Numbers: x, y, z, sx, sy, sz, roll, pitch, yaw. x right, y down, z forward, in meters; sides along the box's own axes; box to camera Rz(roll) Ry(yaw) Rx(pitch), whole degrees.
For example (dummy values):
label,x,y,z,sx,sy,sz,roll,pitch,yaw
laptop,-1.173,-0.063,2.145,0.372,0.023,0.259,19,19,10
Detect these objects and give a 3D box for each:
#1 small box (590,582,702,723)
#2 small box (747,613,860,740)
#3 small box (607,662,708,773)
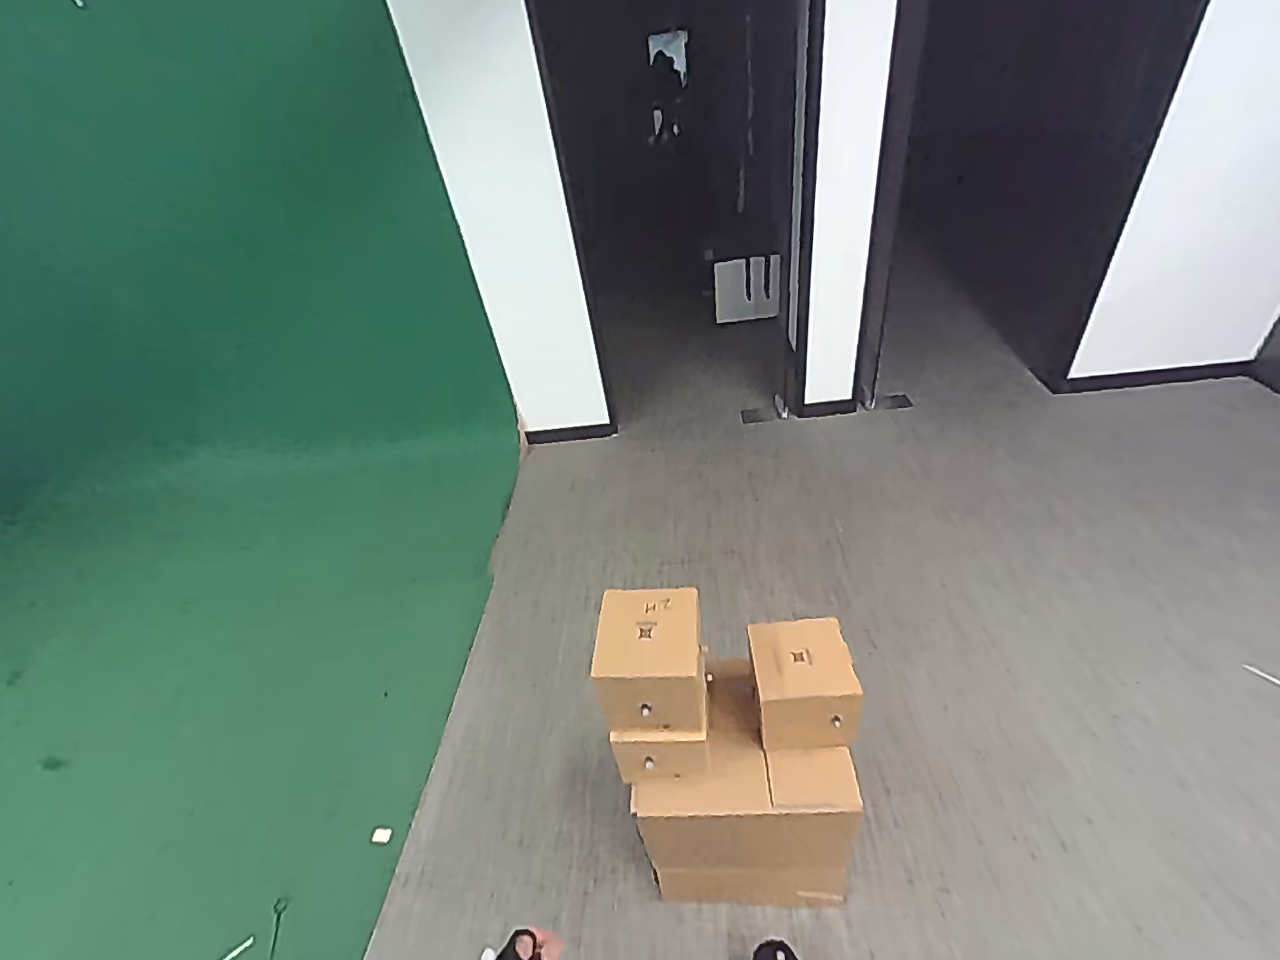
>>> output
label,x,y,z,sx,sy,sz,roll,pitch,yaw
small box,0.020,0.298,0.934,0.168,0.176,0.179,-2,39,8
small box,0.304,0.379,1.039,0.179,0.176,0.168,-6,37,7
small box,0.040,0.434,1.025,0.168,0.176,0.179,-3,38,7
